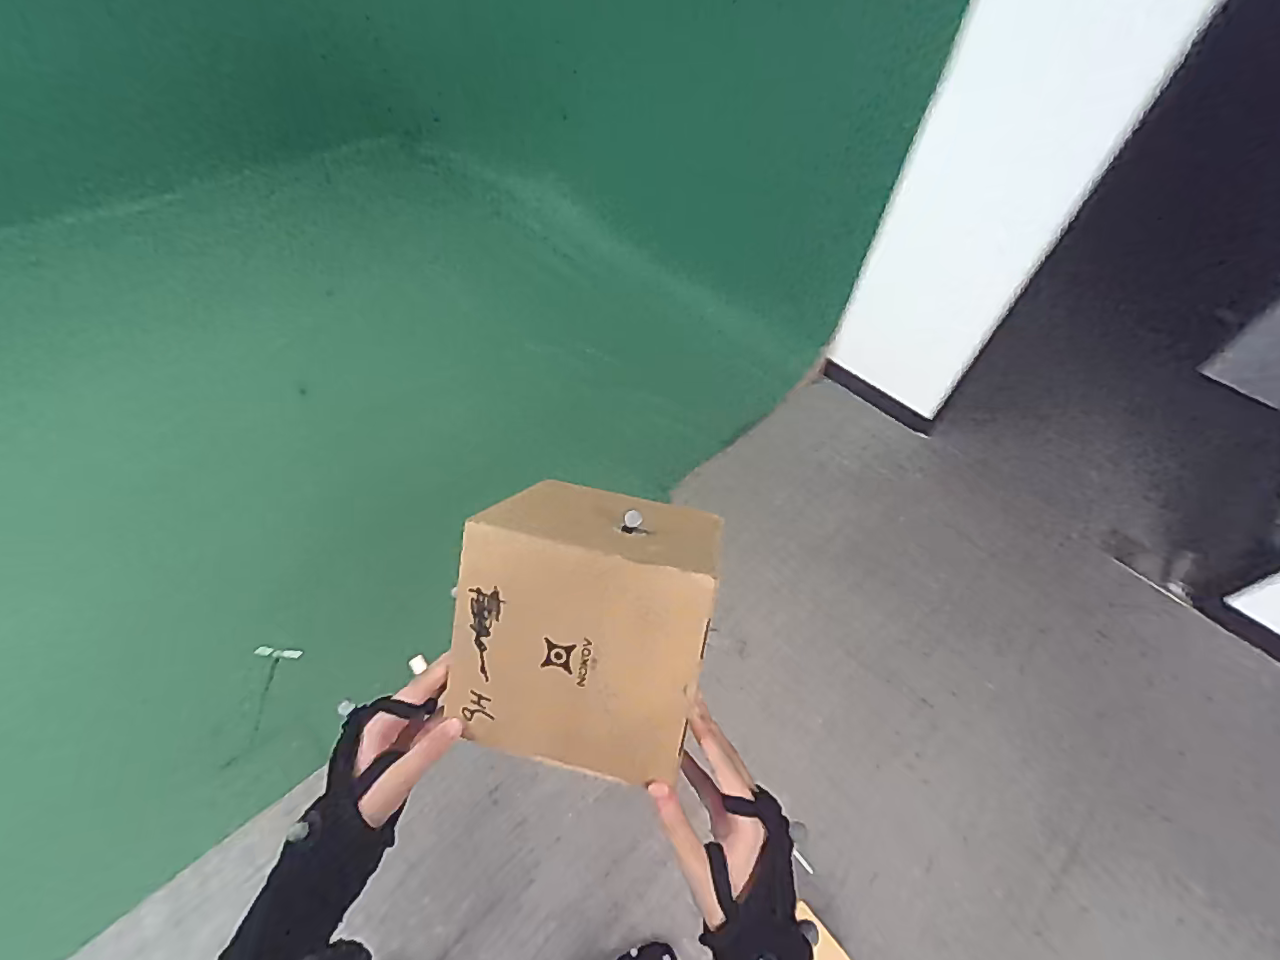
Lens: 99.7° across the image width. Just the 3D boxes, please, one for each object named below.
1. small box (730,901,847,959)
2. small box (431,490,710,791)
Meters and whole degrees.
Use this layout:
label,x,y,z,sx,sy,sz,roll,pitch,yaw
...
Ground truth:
label,x,y,z,sx,sy,sz,roll,pitch,yaw
small box,0.295,0.969,1.060,0.179,0.176,0.168,-34,62,-24
small box,-0.043,0.111,0.449,0.179,0.168,0.176,12,9,6
